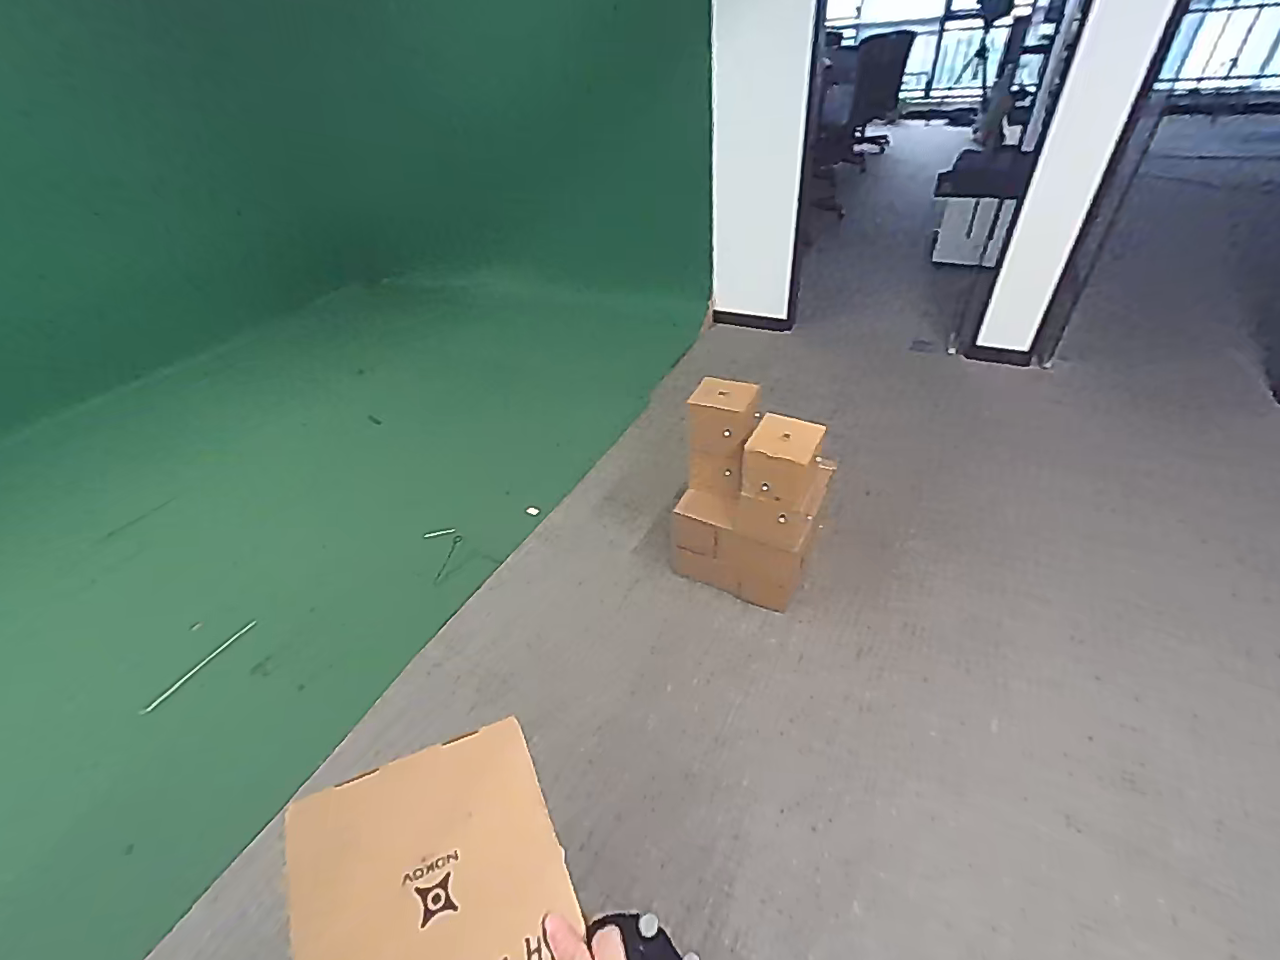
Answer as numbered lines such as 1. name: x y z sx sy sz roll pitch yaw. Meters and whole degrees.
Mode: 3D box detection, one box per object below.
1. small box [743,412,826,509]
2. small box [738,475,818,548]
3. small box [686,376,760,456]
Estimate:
1. small box: 0.386 -0.053 1.463 0.168 0.176 0.179 18 47 24
2. small box: 0.397 0.073 1.567 0.179 0.176 0.168 18 45 25
3. small box: 0.254 -0.193 1.648 0.179 0.176 0.168 14 42 24
